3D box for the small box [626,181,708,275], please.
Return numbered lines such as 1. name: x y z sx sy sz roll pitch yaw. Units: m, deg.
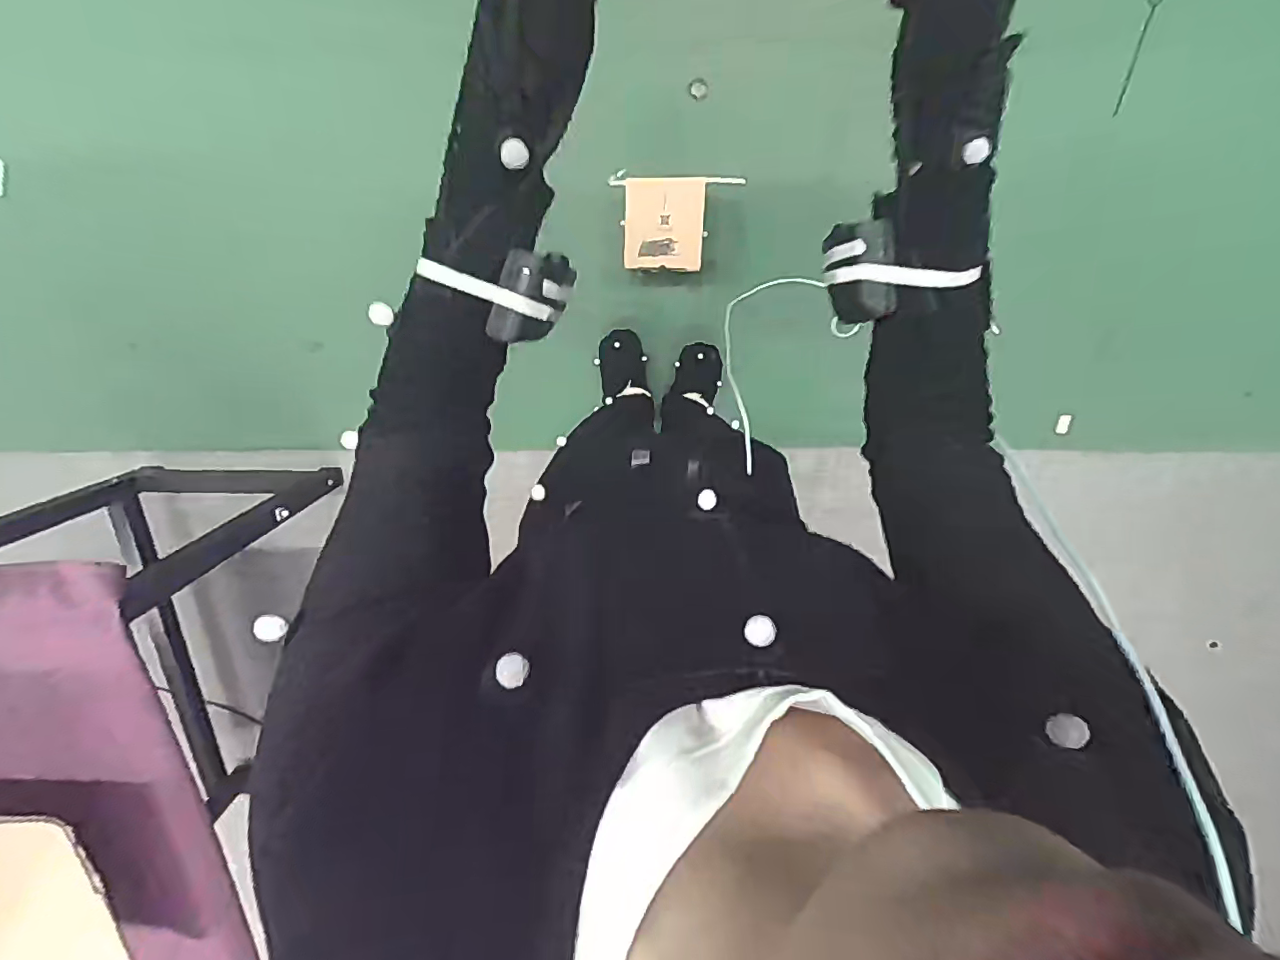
1. small box: 0.058 -0.556 1.212 0.168 0.176 0.179 2 109 1
